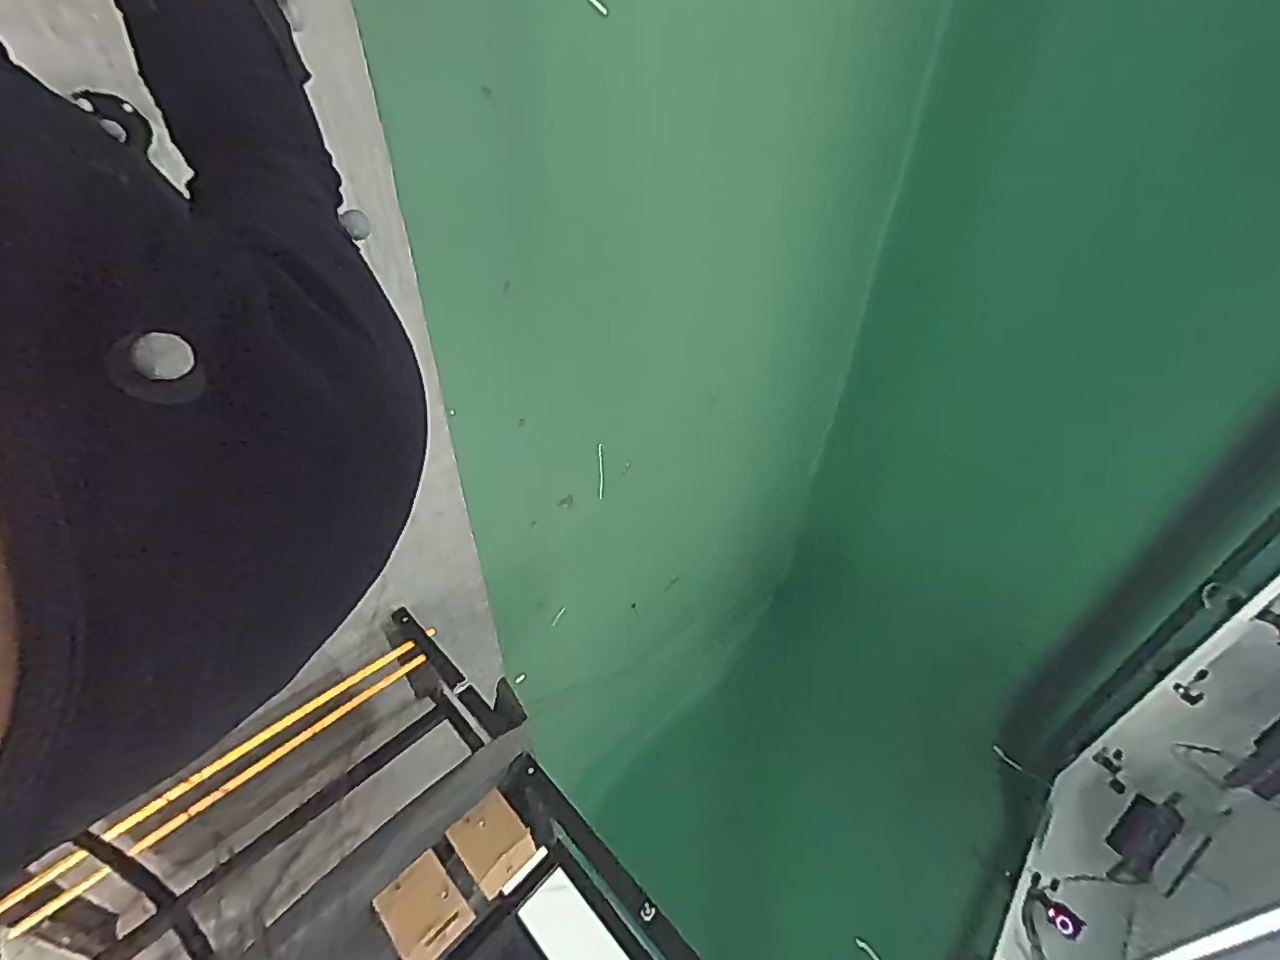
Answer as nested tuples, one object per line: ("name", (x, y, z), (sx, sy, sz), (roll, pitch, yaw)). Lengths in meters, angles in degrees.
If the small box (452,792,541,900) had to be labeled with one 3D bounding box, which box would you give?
("small box", (-0.404, 1.029, 1.530), (0.168, 0.176, 0.179), (-34, 140, -33))
